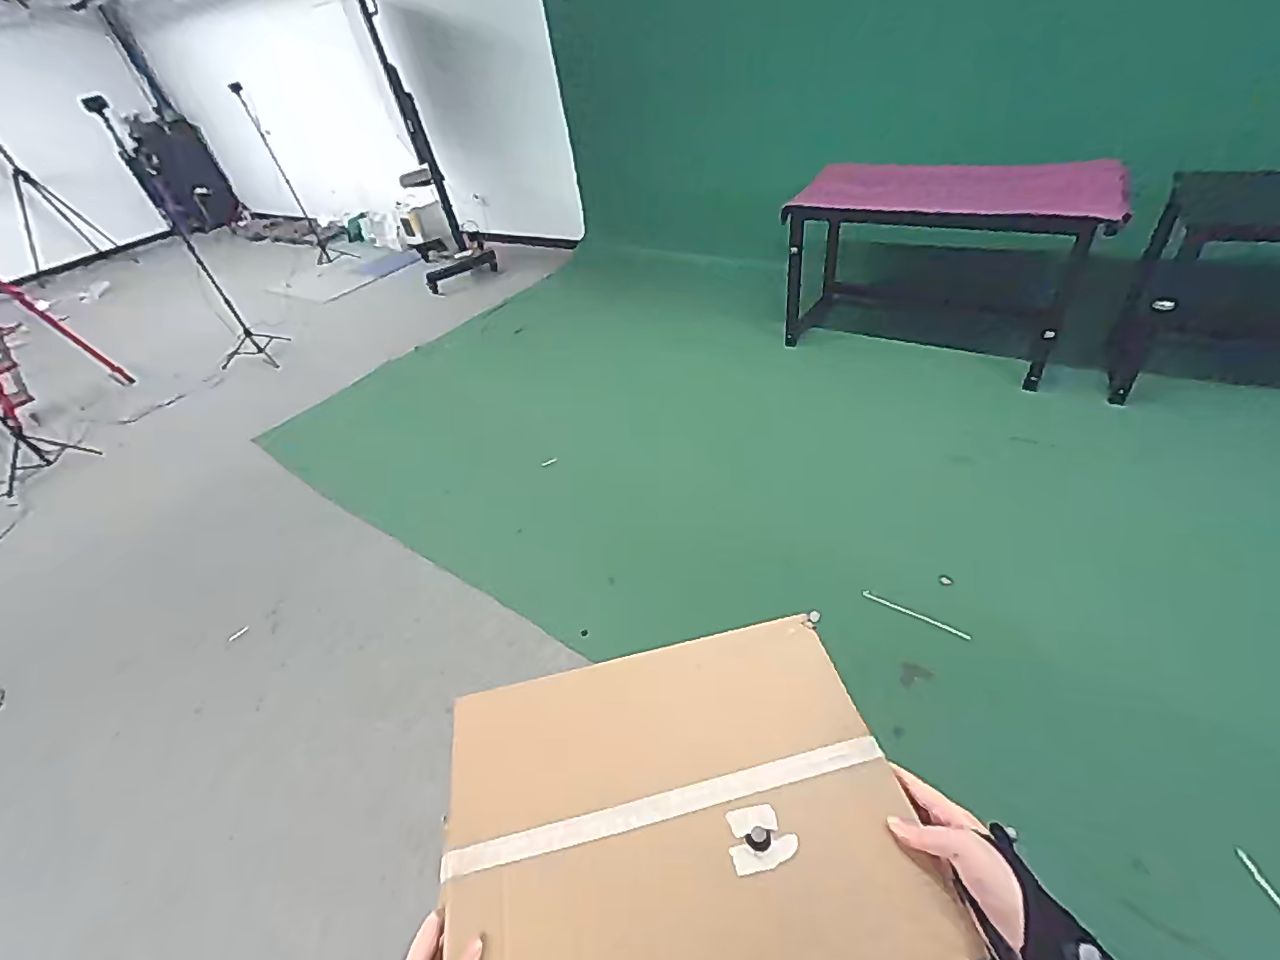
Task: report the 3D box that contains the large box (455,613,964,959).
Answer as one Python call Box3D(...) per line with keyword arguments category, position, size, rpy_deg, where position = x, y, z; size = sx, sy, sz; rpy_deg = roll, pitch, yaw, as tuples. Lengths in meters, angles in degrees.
Box3D(category="large box", position=(0.039, 0.404, 0.601), size=(0.408, 0.320, 0.320), rpy_deg=(-11, 42, -7))
